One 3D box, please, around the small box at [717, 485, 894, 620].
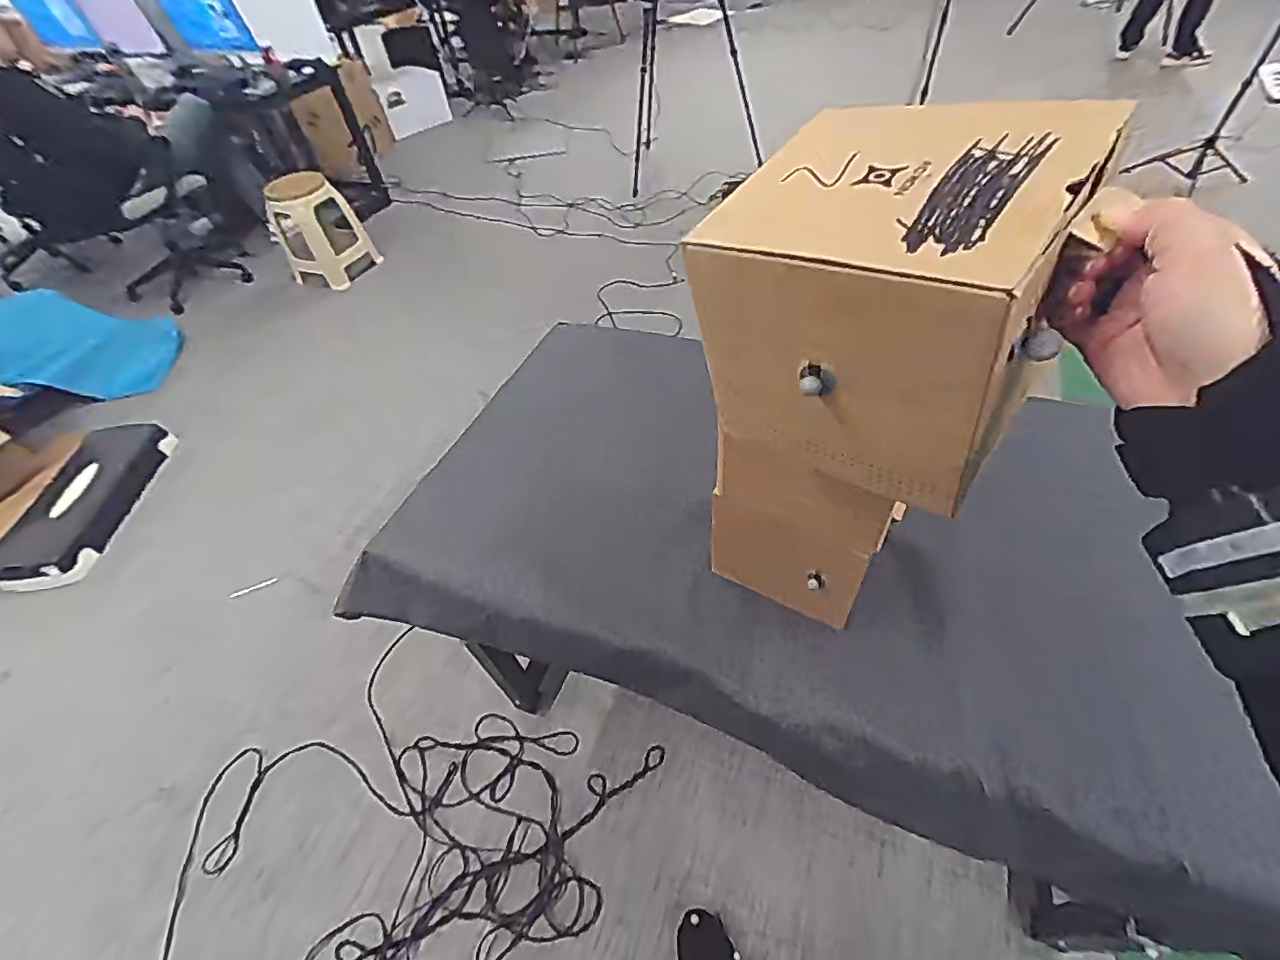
[{"bbox_3d":[0.208,0.046,0.664,0.179,0.176,0.168,22,54,24],"label":"small box"}]
